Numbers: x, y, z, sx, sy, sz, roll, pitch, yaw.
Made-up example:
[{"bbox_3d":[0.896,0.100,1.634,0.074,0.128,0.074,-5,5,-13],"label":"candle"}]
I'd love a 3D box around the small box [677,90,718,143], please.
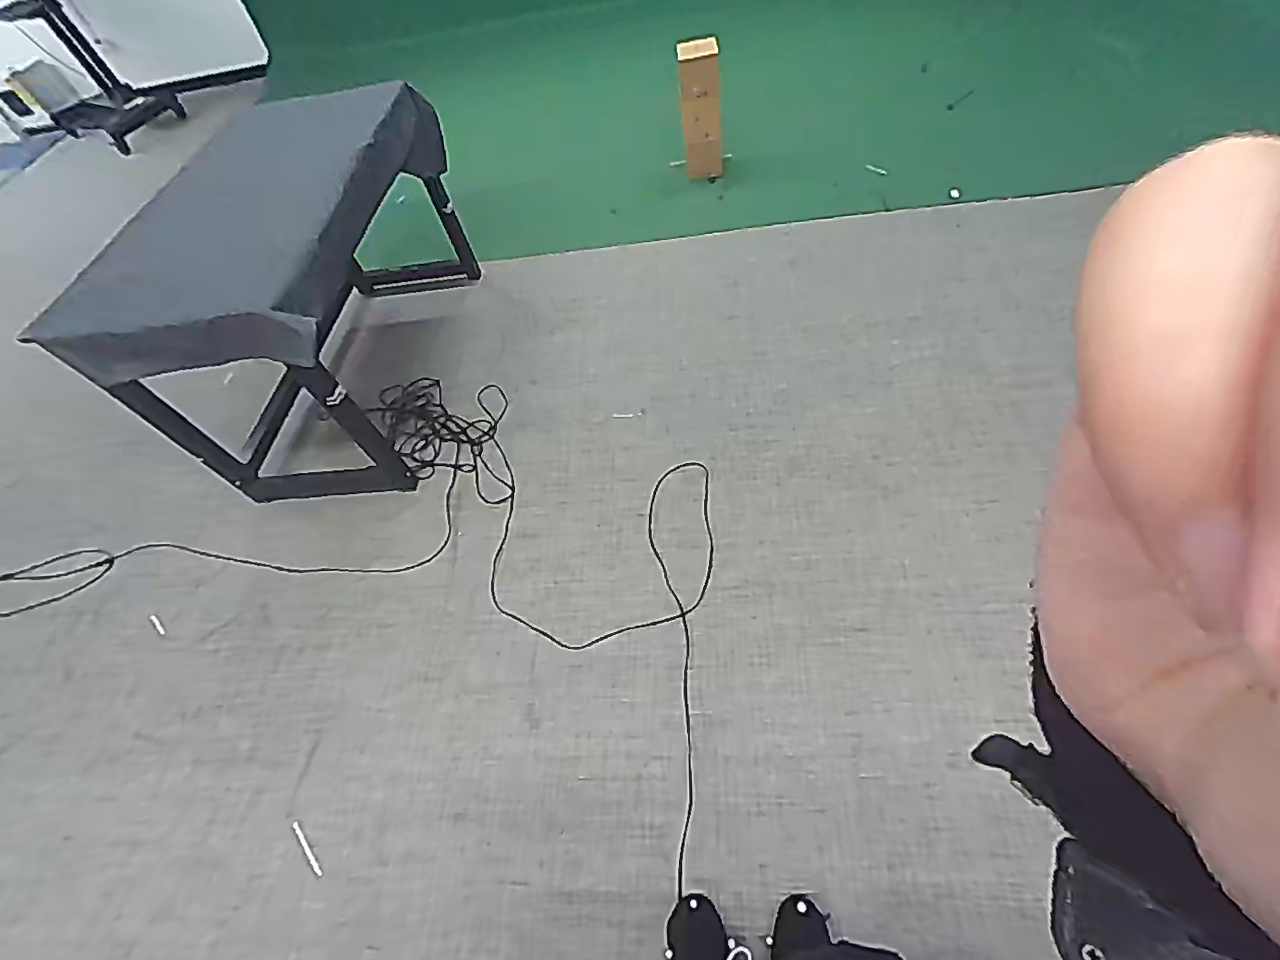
[{"bbox_3d":[0.261,-1.646,2.436,0.168,0.176,0.179,-6,55,6],"label":"small box"}]

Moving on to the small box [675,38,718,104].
[{"bbox_3d":[0.241,-1.739,2.304,0.168,0.176,0.179,-6,56,7],"label":"small box"}]
